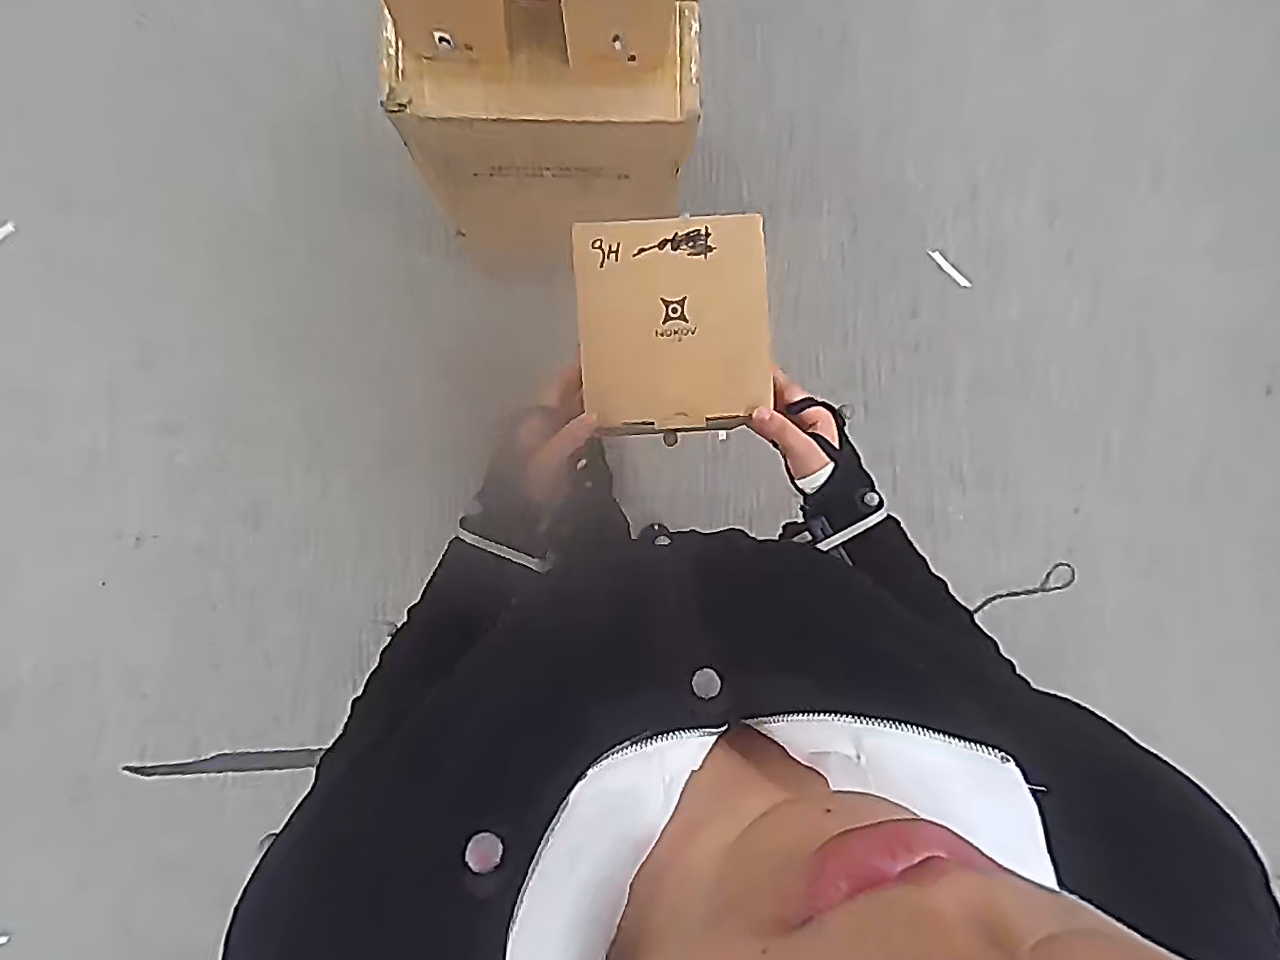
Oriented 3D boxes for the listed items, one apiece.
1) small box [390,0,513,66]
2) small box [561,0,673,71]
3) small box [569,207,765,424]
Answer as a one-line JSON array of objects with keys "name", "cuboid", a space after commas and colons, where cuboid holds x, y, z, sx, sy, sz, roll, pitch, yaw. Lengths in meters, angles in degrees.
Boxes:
[{"name": "small box", "cuboid": [-0.289, -0.773, 0.811, 0.168, 0.176, 0.179, -1, 90, -3]}, {"name": "small box", "cuboid": [-0.036, -0.773, 0.822, 0.168, 0.176, 0.179, -1, 89, -1]}, {"name": "small box", "cuboid": [0.023, -0.149, 0.549, 0.168, 0.176, 0.179, -4, 93, -2]}]
